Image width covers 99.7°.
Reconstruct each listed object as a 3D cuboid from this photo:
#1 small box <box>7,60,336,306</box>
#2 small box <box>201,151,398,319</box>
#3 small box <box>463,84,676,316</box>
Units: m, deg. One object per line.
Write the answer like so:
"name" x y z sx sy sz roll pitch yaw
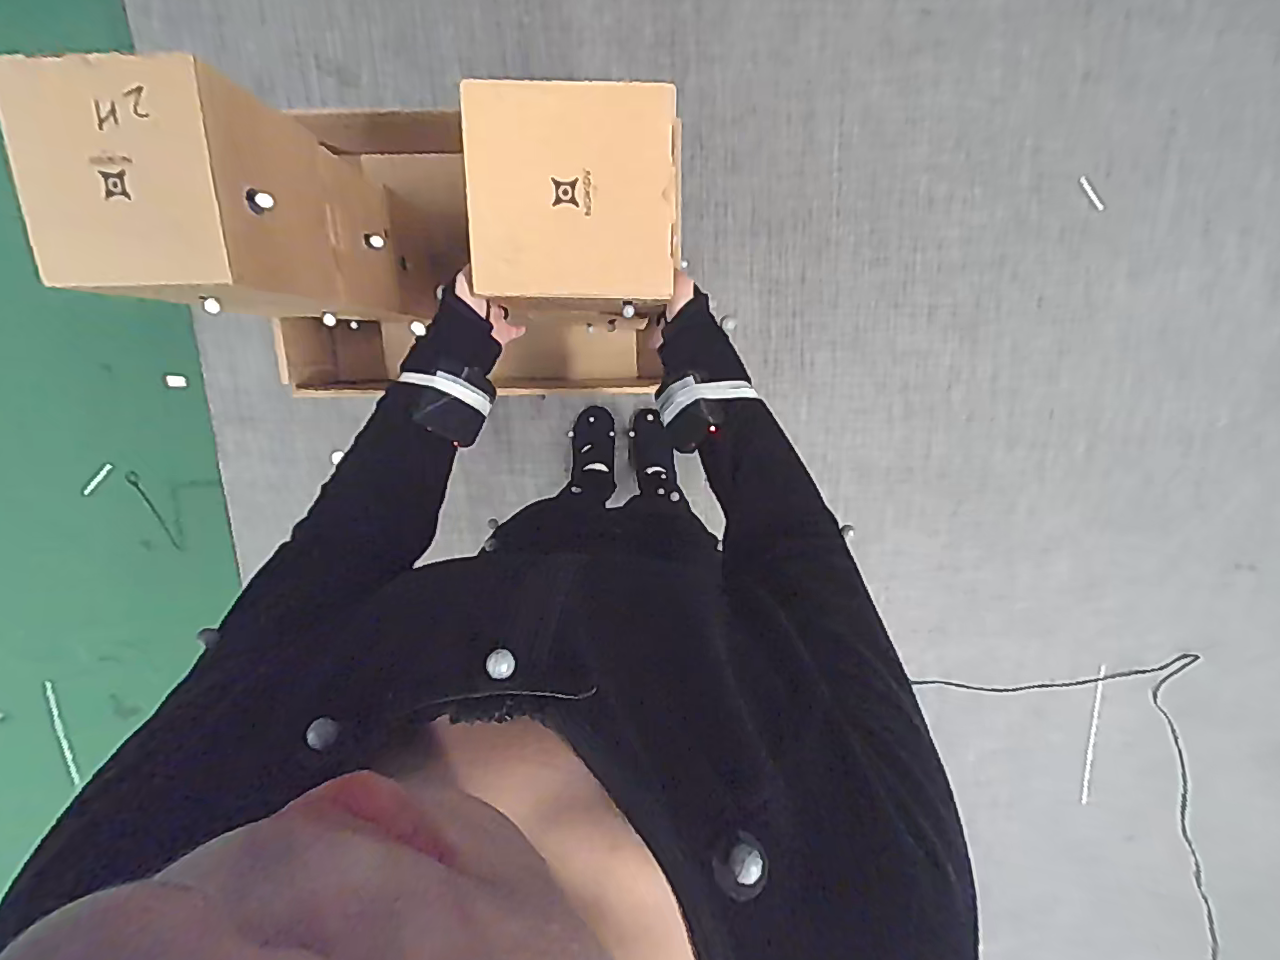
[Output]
"small box" -0.425 -0.267 0.528 0.168 0.176 0.179 0 102 0
"small box" -0.429 -0.299 0.691 0.179 0.176 0.168 -2 102 0
"small box" -0.060 -0.254 0.533 0.179 0.176 0.168 0 102 -2
